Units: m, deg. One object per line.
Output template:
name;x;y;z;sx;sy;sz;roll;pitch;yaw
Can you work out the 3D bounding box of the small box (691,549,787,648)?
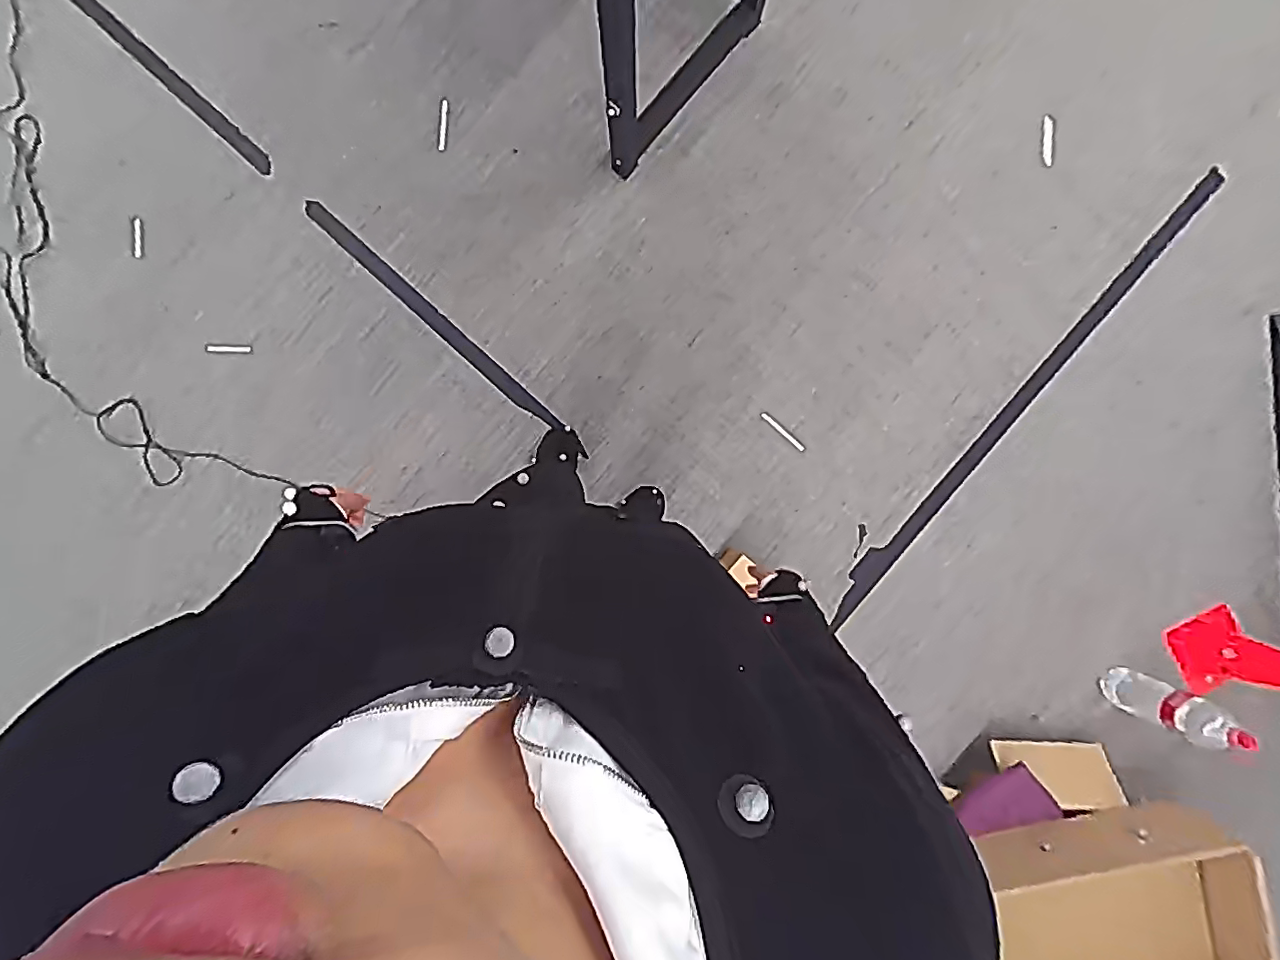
small box;0.250;0.301;1.420;0.168;0.176;0.179;42;90;1
